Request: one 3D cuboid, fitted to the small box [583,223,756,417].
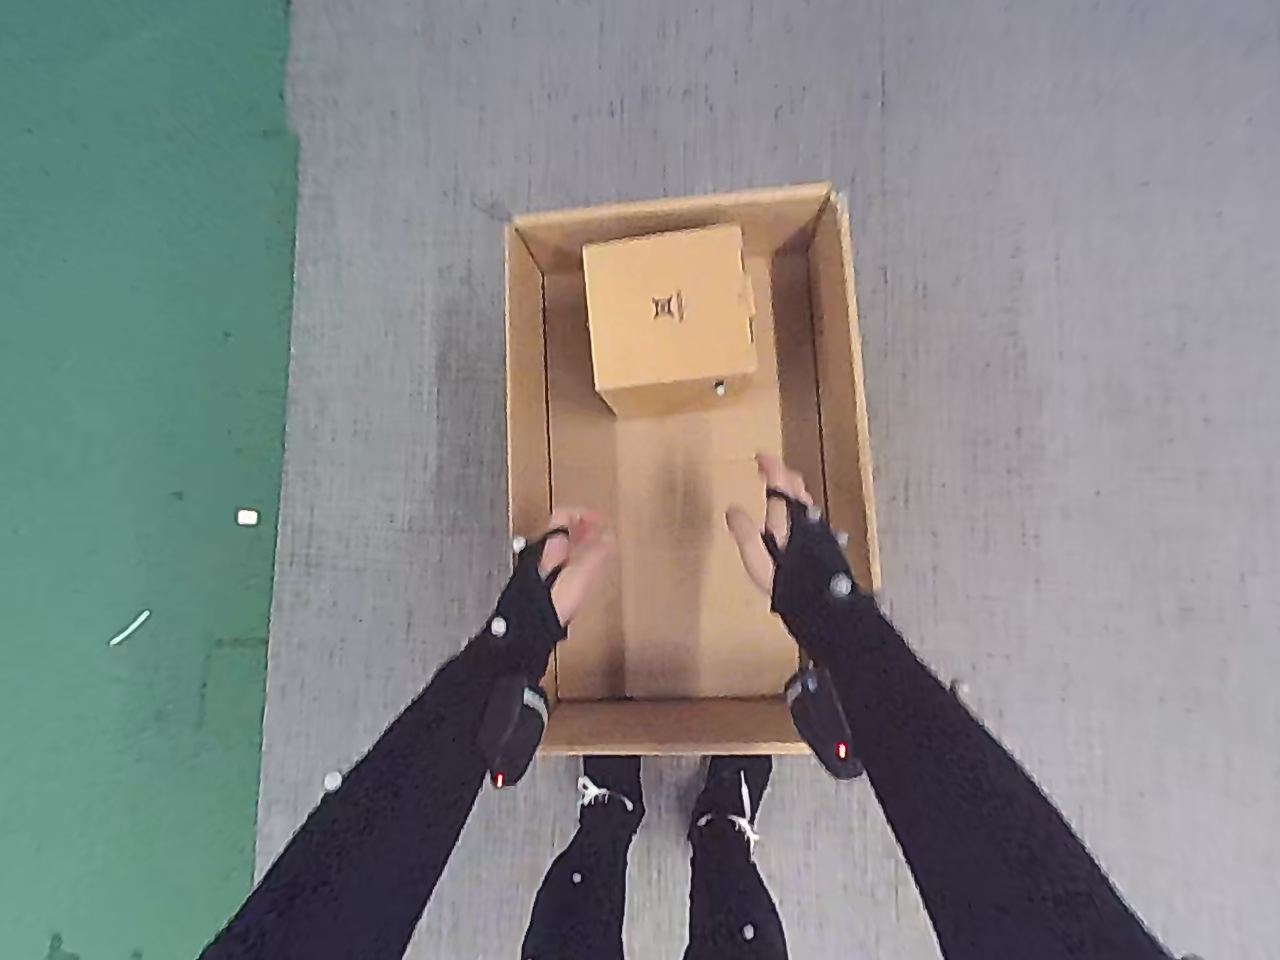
[{"bbox_3d":[0.037,-0.178,0.657,0.179,0.176,0.168,-6,84,4],"label":"small box"}]
